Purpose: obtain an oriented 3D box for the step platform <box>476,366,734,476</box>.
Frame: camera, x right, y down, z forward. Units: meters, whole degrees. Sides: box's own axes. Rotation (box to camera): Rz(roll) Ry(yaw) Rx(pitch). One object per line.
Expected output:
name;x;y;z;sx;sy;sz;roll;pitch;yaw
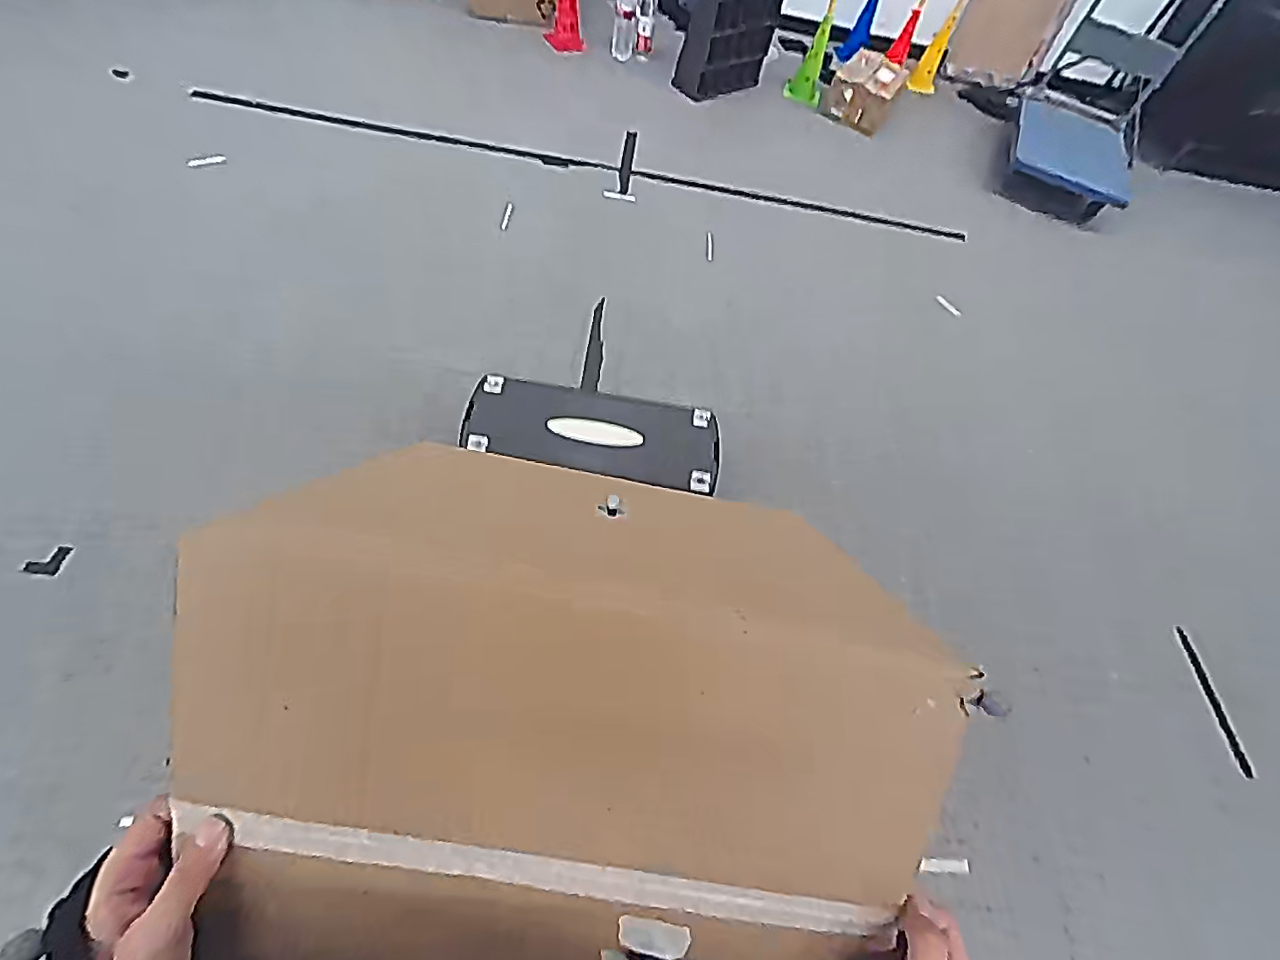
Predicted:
step platform;-0.091;-0.082;1.468;0.684;0.204;0.286;14;58;-3
